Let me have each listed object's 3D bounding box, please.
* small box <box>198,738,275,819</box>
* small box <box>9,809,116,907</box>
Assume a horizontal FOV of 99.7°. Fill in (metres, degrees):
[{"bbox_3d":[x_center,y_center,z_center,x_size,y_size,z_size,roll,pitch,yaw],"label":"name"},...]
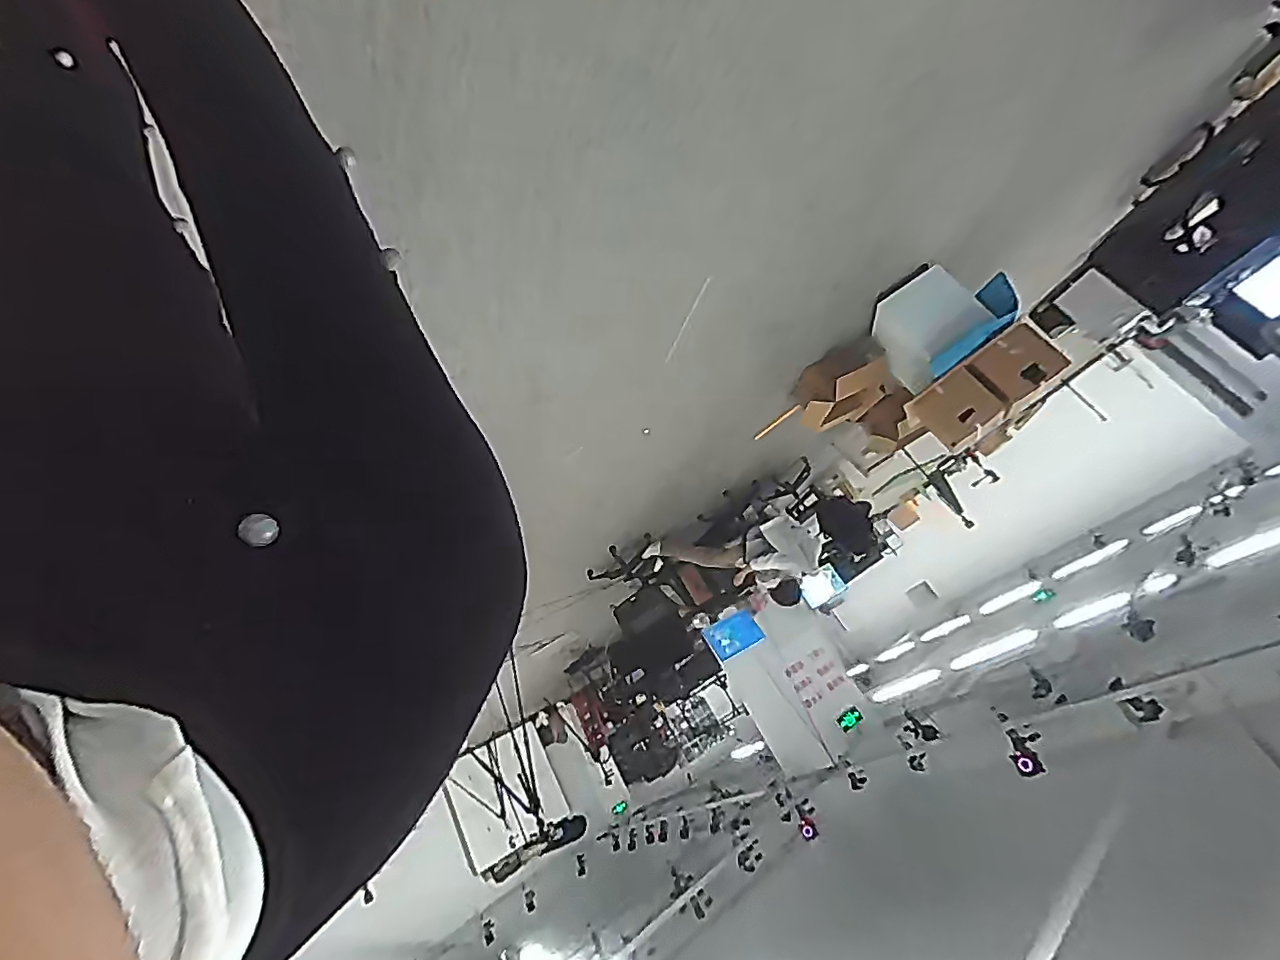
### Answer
[{"bbox_3d":[-1.306,0.964,1.754,0.168,0.176,0.179,-15,154,-35],"label":"small box"},{"bbox_3d":[-1.625,1.061,1.526,0.168,0.176,0.179,-17,155,-37],"label":"small box"}]
